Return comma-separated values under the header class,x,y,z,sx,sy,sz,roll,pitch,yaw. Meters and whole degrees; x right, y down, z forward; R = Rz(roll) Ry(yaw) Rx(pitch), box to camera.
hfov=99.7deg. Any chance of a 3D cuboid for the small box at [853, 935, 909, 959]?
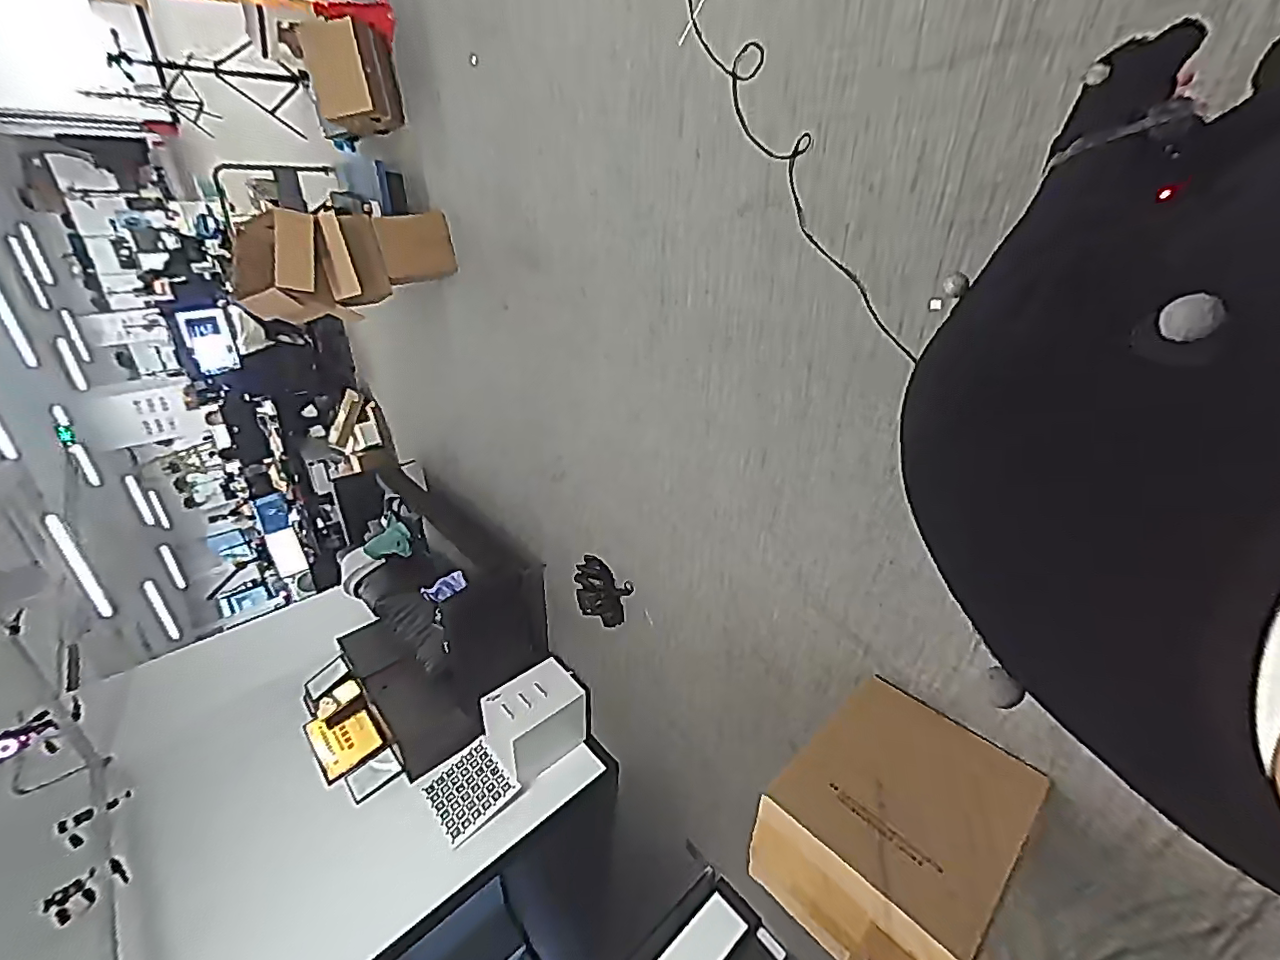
class,x,y,z,sx,sy,sz,roll,pitch,yaw
small box,0.547,1.174,1.203,0.179,0.176,0.168,24,122,40
